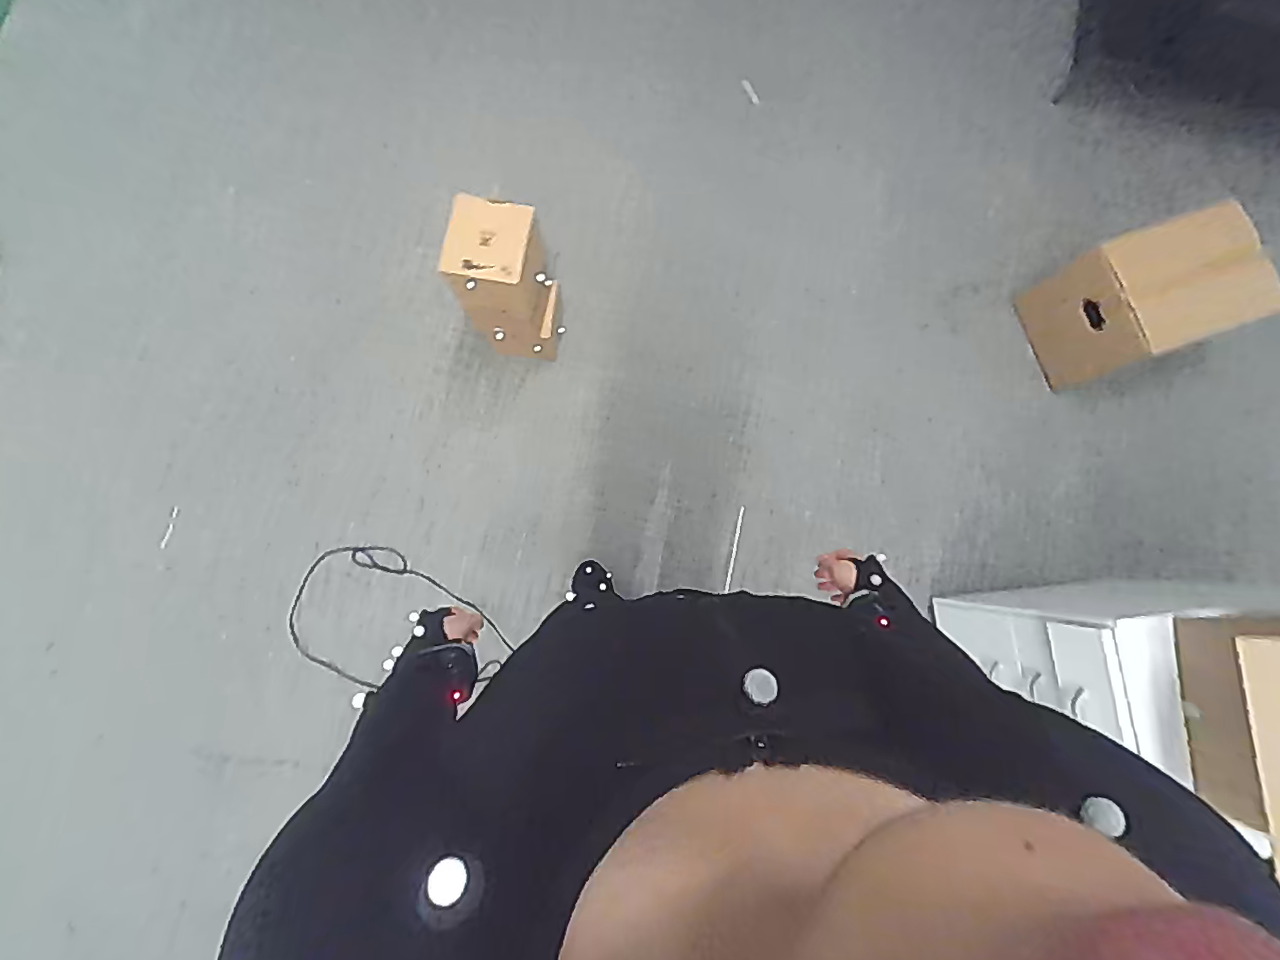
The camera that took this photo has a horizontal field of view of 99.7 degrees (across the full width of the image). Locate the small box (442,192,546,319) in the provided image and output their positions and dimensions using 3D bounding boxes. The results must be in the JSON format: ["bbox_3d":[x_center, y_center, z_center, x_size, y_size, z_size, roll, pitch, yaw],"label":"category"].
[{"bbox_3d":[-0.306,-0.480,1.176,0.168,0.176,0.179,11,81,-1],"label":"small box"}]

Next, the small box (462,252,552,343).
[{"bbox_3d":[-0.319,-0.464,1.339,0.168,0.176,0.179,11,82,0],"label":"small box"}]
